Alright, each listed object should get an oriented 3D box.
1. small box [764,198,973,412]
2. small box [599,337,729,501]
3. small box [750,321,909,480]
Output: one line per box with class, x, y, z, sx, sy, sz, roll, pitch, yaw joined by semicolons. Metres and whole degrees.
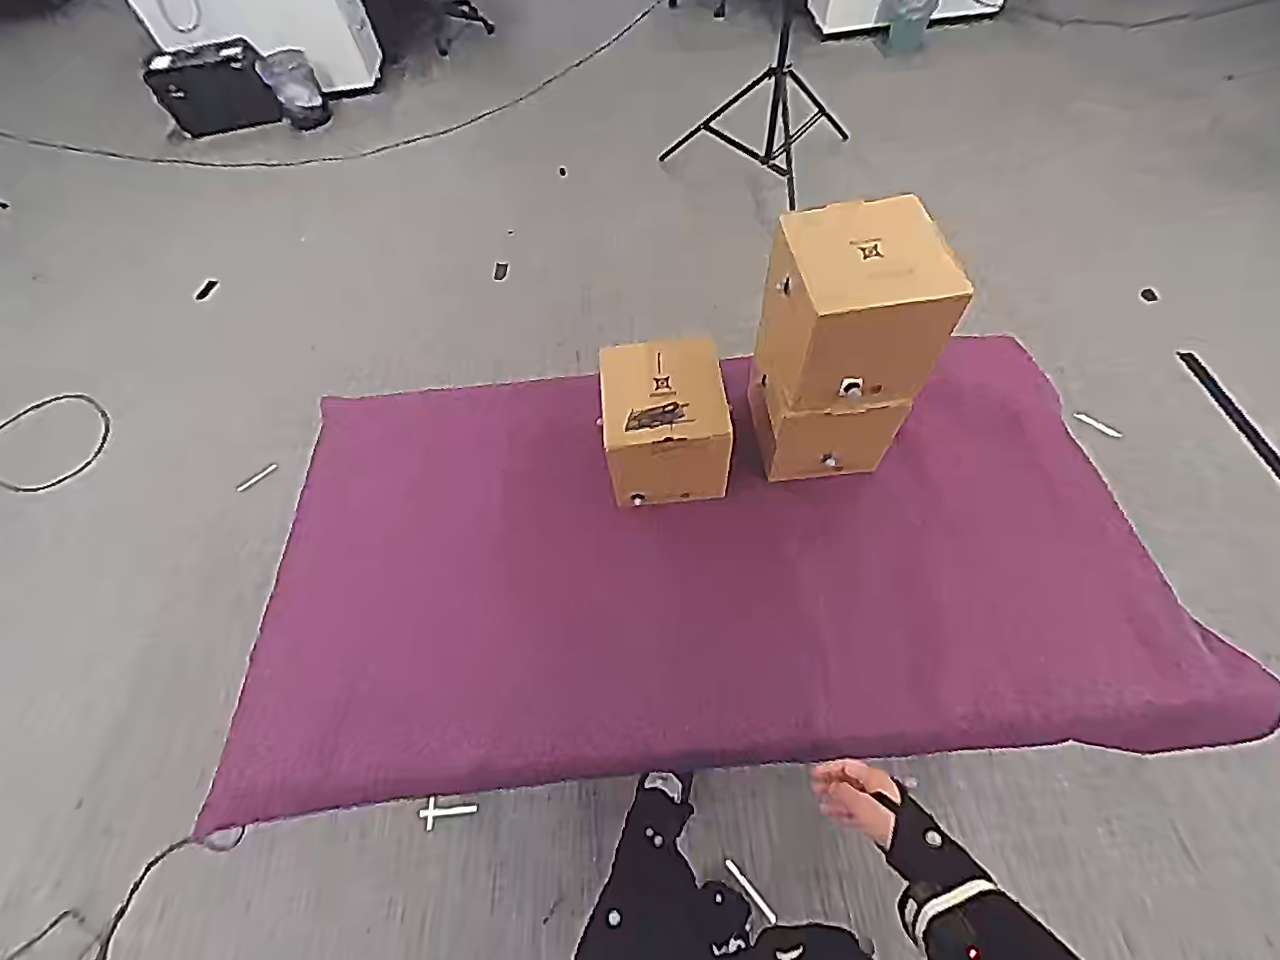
small box;0.257;-0.208;0.663;0.168;0.176;0.179;-8;60;1
small box;0.034;-0.080;0.793;0.168;0.176;0.179;-6;59;1
small box;0.263;-0.120;0.800;0.168;0.176;0.179;-6;60;2
